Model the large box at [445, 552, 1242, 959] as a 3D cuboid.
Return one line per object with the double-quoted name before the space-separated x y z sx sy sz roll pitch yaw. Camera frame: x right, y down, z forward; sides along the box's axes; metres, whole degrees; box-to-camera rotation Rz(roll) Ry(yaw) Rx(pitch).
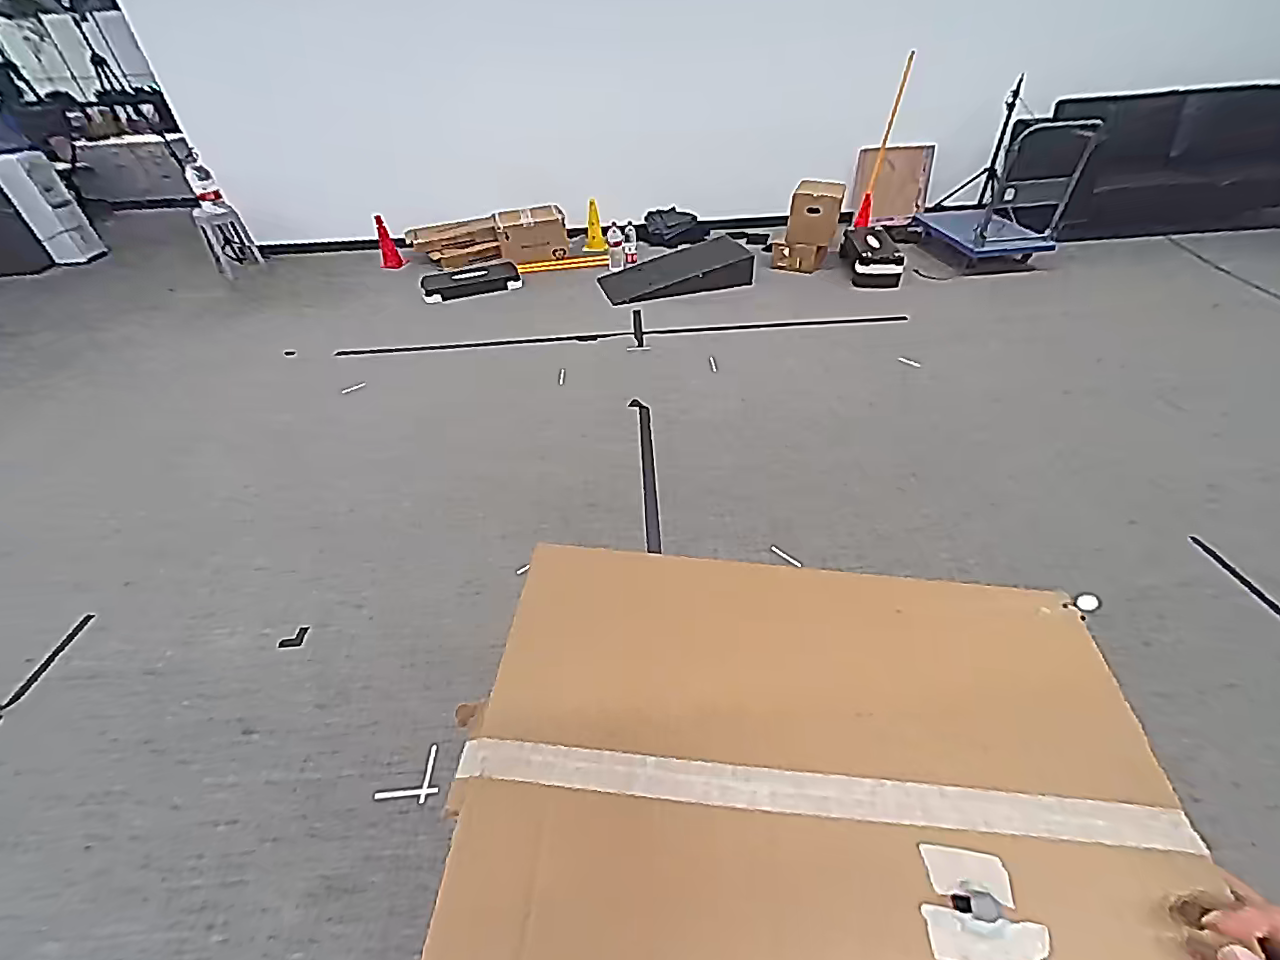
"large box" 0.101 0.286 0.424 0.408 0.320 0.320 6 47 1
